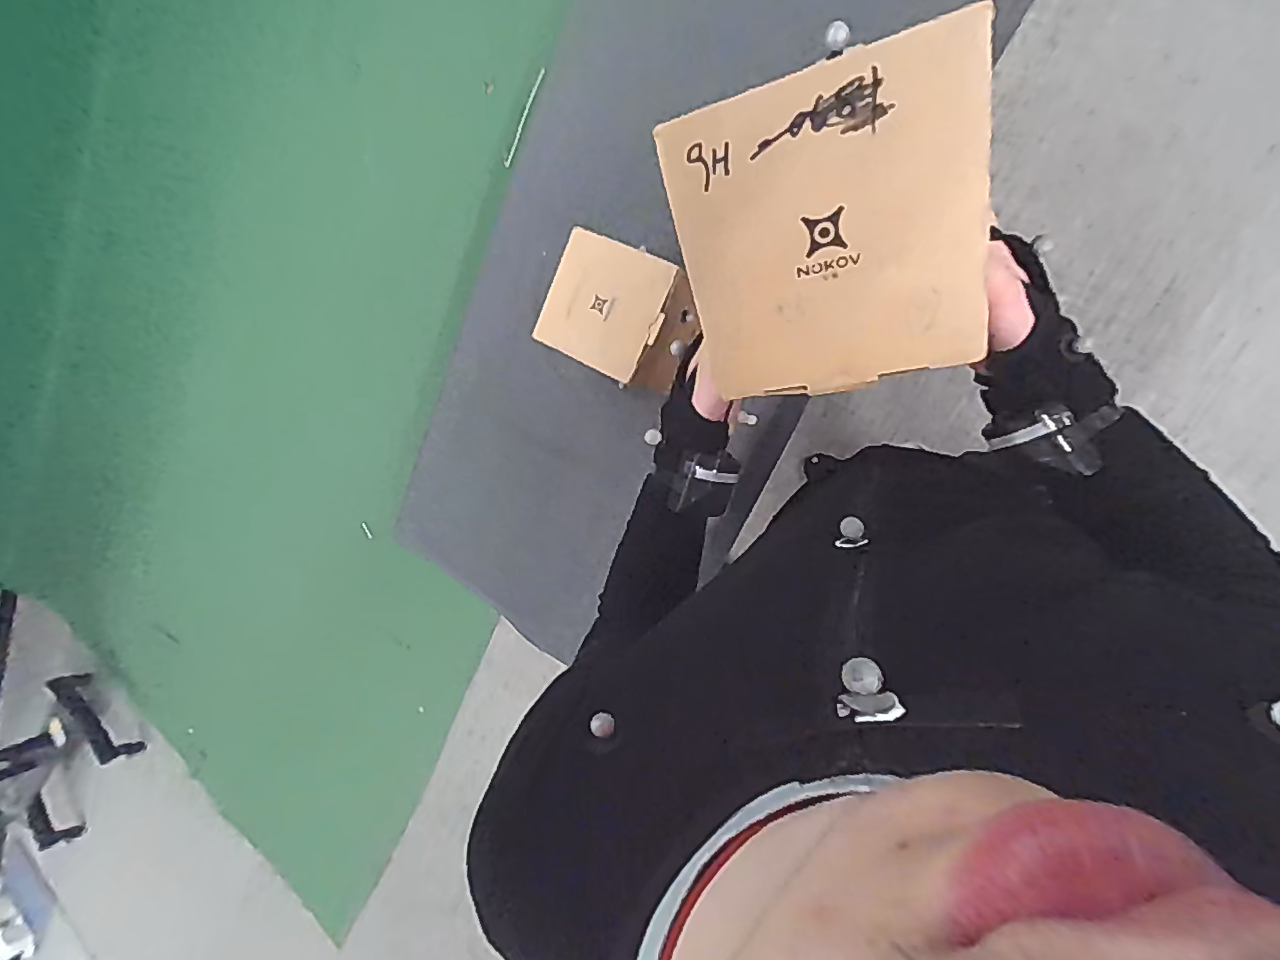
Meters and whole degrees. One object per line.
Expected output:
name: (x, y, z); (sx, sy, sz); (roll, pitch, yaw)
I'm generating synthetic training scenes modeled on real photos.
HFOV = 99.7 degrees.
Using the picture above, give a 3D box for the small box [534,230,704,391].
small box: (-0.021, -0.244, 0.819); (0.179, 0.176, 0.168); (29, 102, 19)

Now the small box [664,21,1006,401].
small box: (0.132, -0.179, 0.376); (0.168, 0.176, 0.179); (-6, 124, 22)
